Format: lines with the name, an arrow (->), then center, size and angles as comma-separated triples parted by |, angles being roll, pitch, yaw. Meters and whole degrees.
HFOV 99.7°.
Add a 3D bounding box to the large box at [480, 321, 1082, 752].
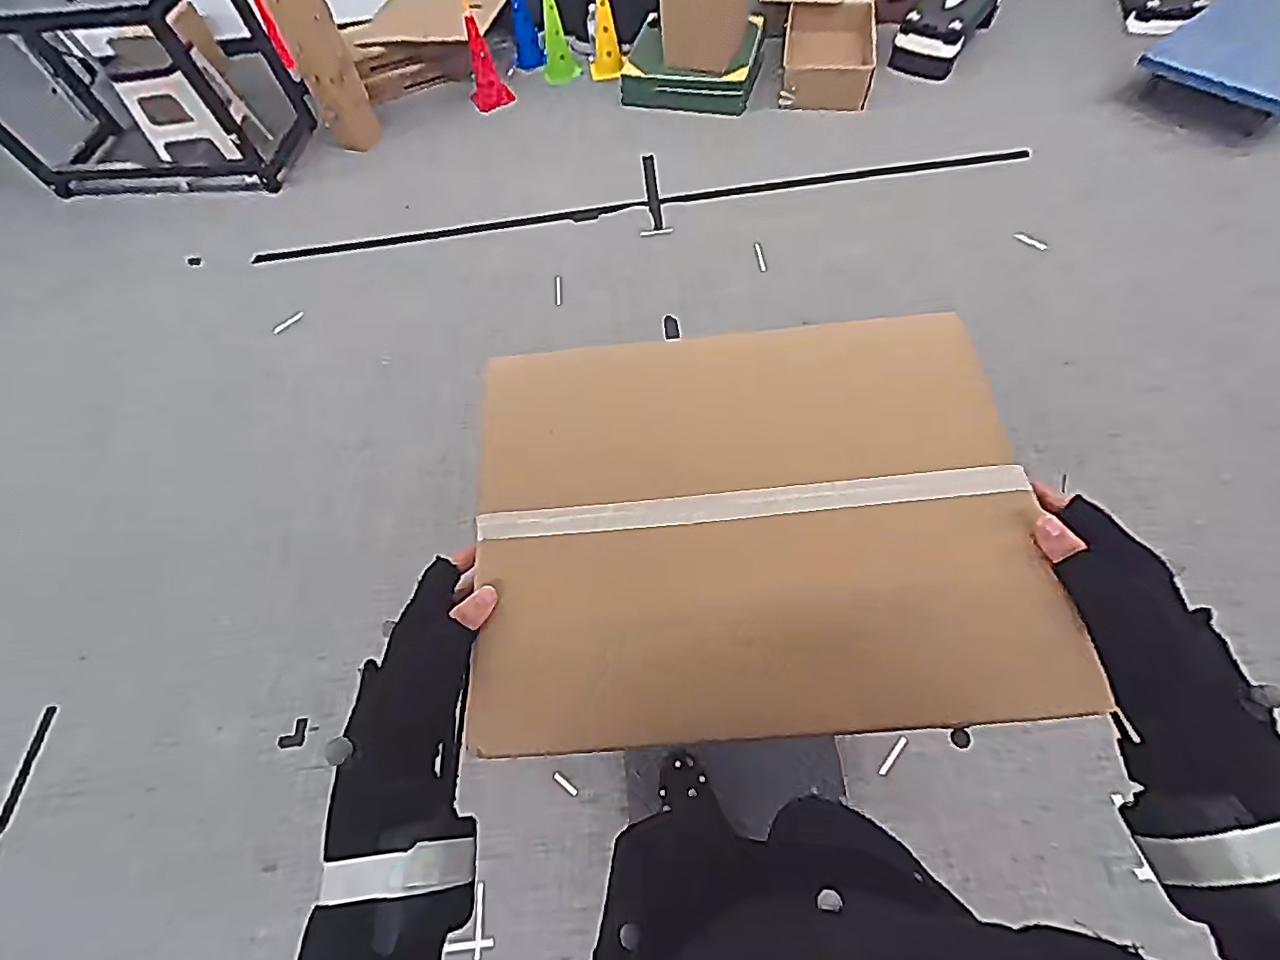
large box -> 0.090, 0.078, 0.547 | 0.408, 0.320, 0.320 | -5, 66, 2
